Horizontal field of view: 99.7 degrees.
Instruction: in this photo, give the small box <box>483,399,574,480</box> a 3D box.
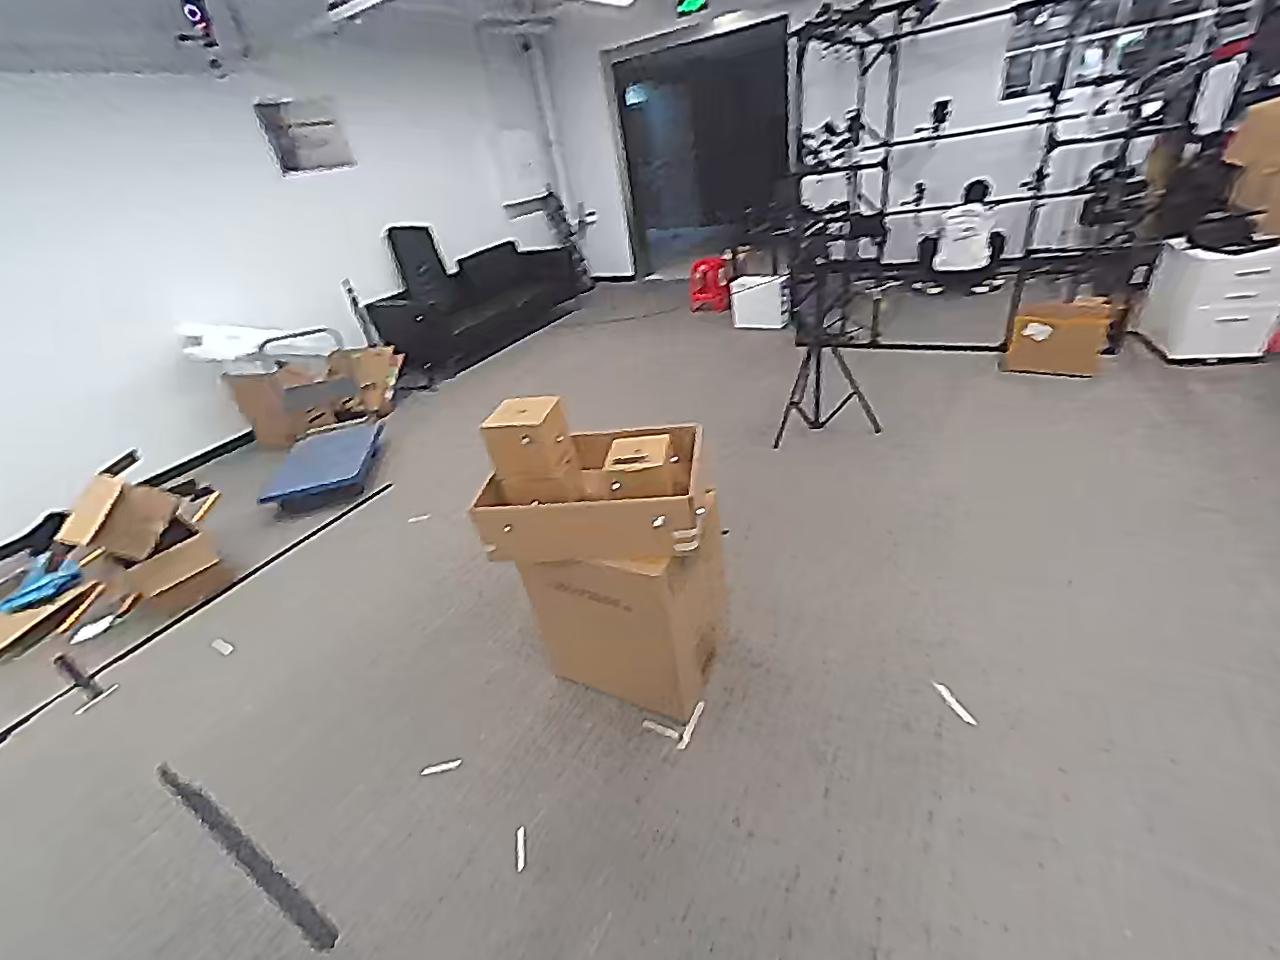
[{"bbox_3d":[-0.300,-0.111,1.501,0.179,0.176,0.168,-1,33,16],"label":"small box"}]
